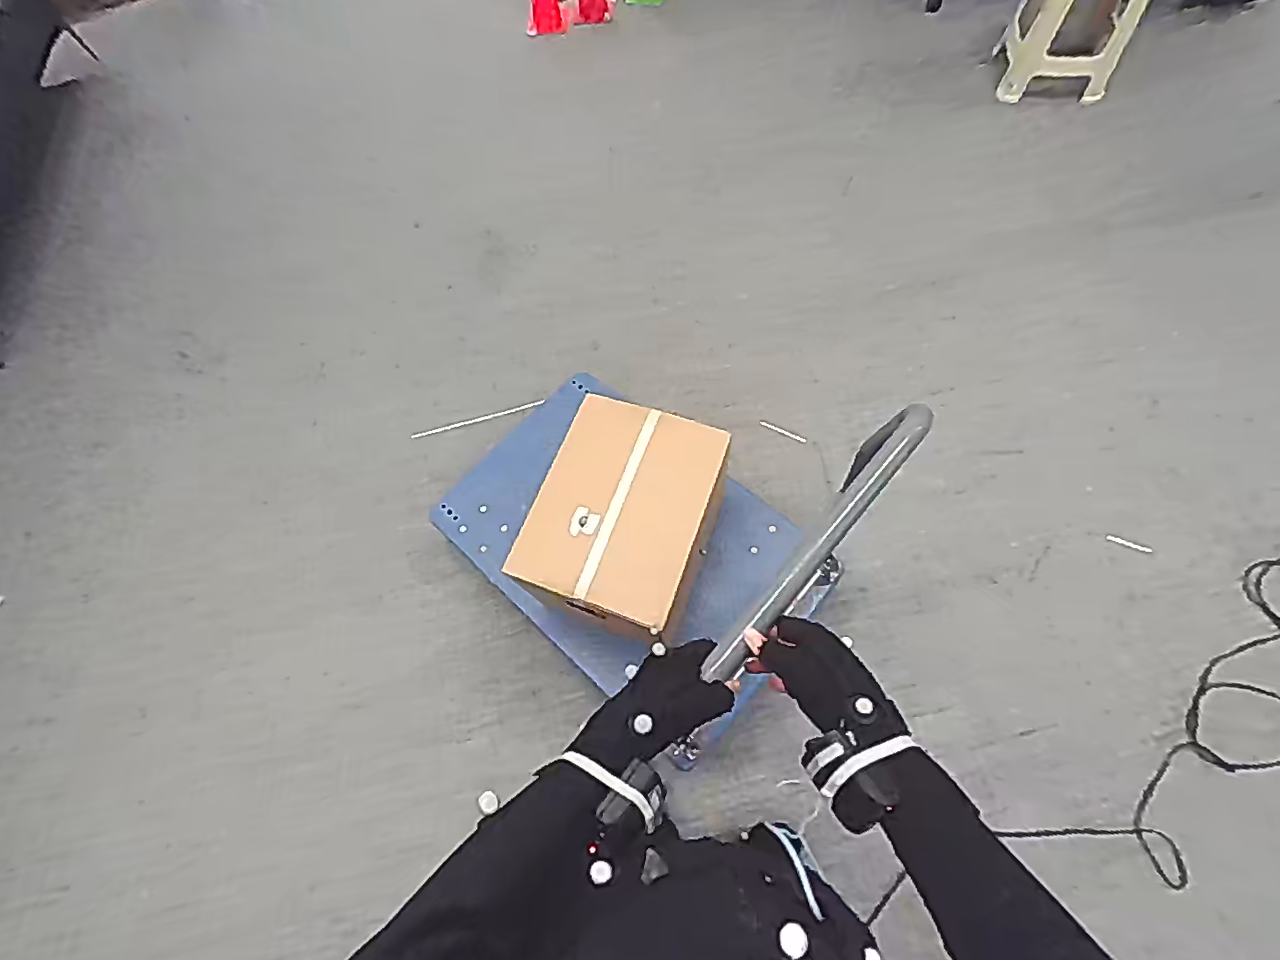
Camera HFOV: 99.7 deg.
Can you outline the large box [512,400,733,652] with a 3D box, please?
[{"bbox_3d":[-0.013,0.106,1.155,0.320,0.320,0.408,18,69,13],"label":"large box"}]
